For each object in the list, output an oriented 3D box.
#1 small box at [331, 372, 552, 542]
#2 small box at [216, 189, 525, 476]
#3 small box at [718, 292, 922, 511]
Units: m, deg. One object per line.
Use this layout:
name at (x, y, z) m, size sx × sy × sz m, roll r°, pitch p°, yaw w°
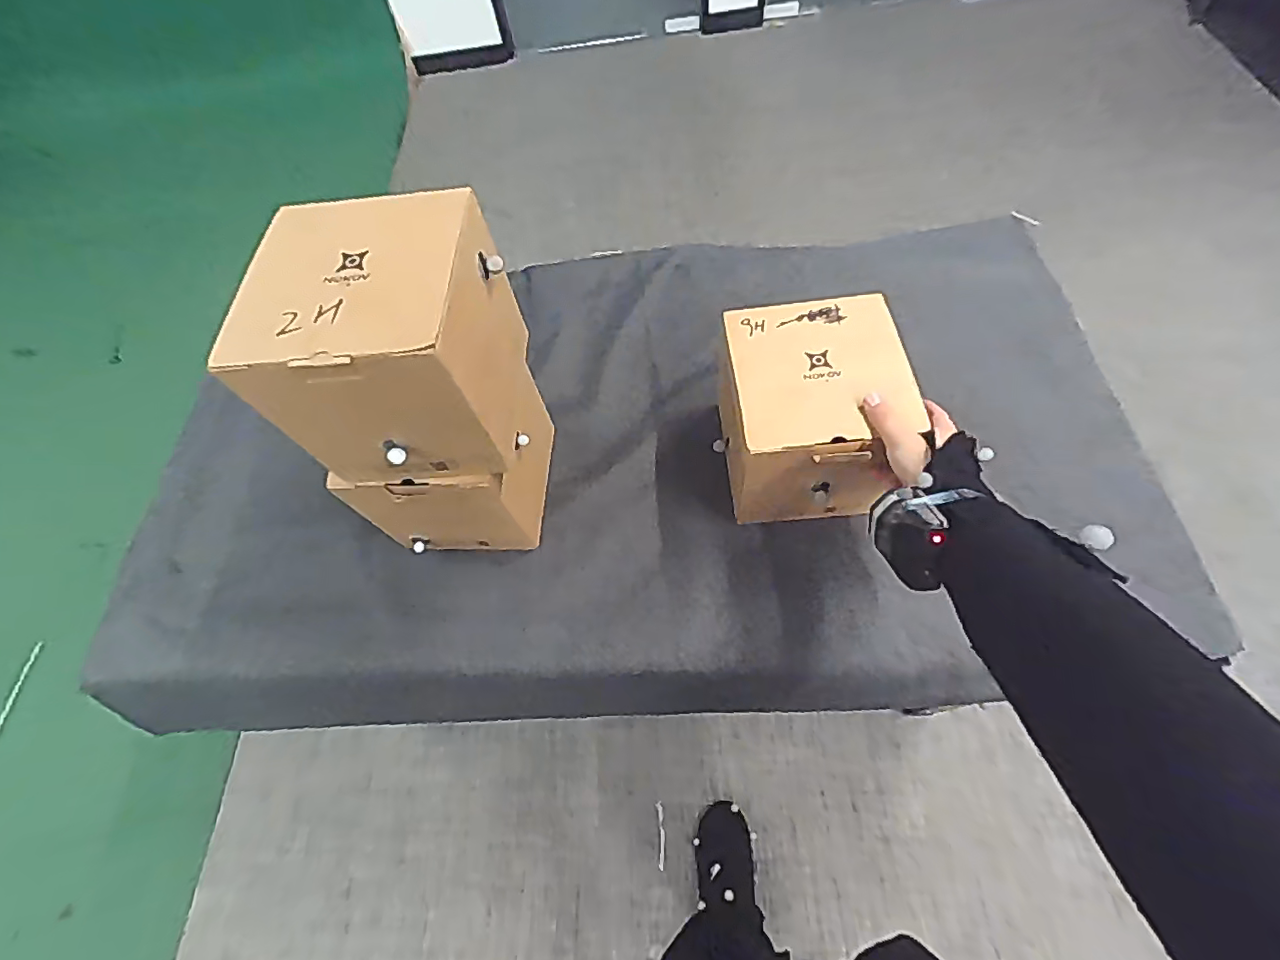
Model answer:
small box at (-0.207, -0.036, 0.621) m, size 0.168 × 0.176 × 0.179 m, roll -1°, pitch 61°, yaw 6°
small box at (-0.208, -0.121, 0.479) m, size 0.168 × 0.176 × 0.179 m, roll -4°, pitch 62°, yaw 5°
small box at (0.177, -0.074, 0.595) m, size 0.168 × 0.176 × 0.179 m, roll -5°, pitch 62°, yaw 4°
